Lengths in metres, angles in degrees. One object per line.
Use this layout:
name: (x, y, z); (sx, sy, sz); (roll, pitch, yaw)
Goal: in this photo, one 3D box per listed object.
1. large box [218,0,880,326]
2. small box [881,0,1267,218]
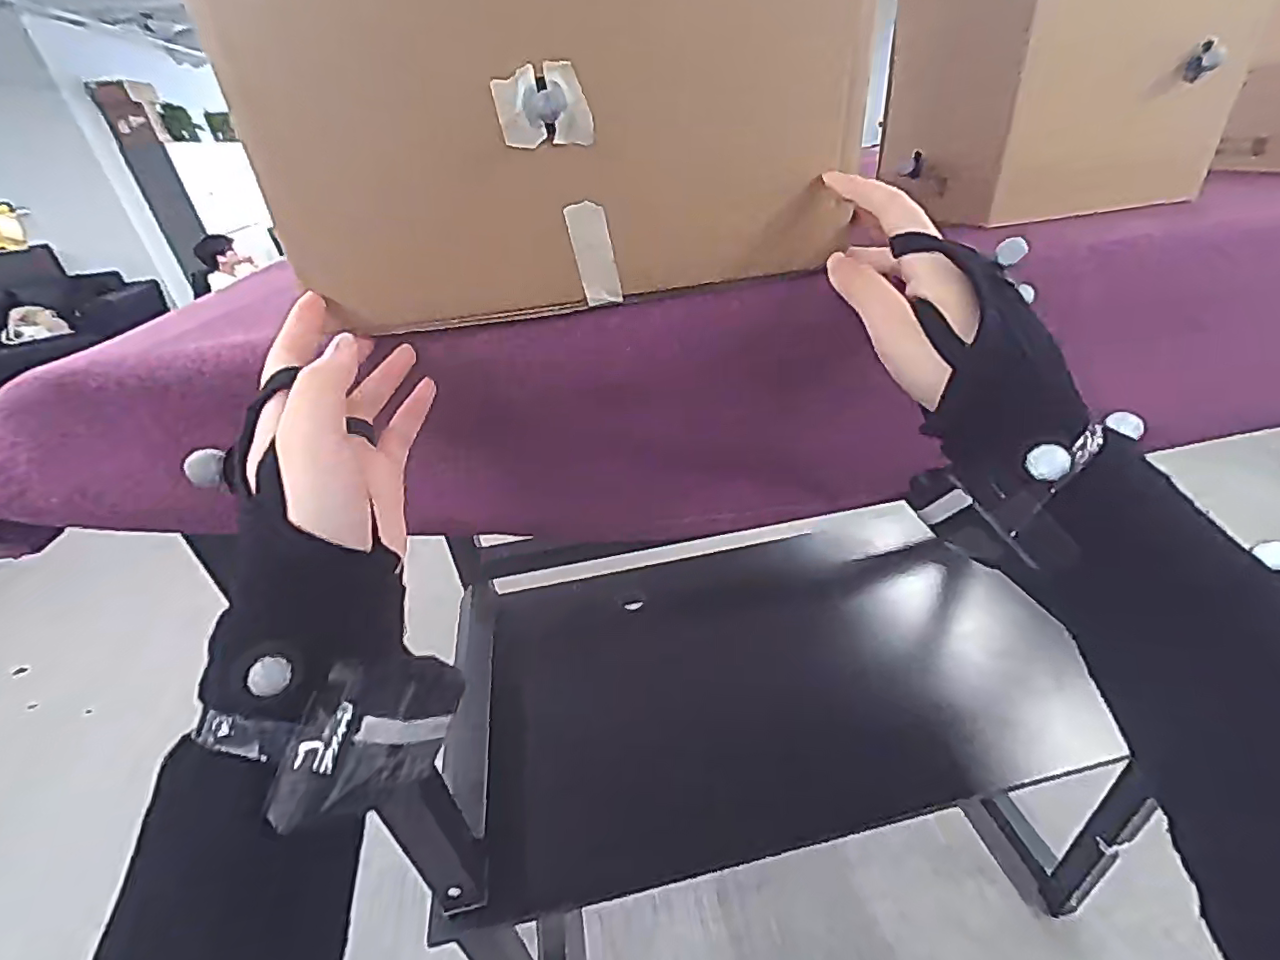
large box: (-0.075, -0.327, 0.391); (0.320, 0.320, 0.408); (-11, 31, -10)
small box: (0.319, -0.316, 0.426); (0.179, 0.176, 0.168); (-10, 31, -4)
